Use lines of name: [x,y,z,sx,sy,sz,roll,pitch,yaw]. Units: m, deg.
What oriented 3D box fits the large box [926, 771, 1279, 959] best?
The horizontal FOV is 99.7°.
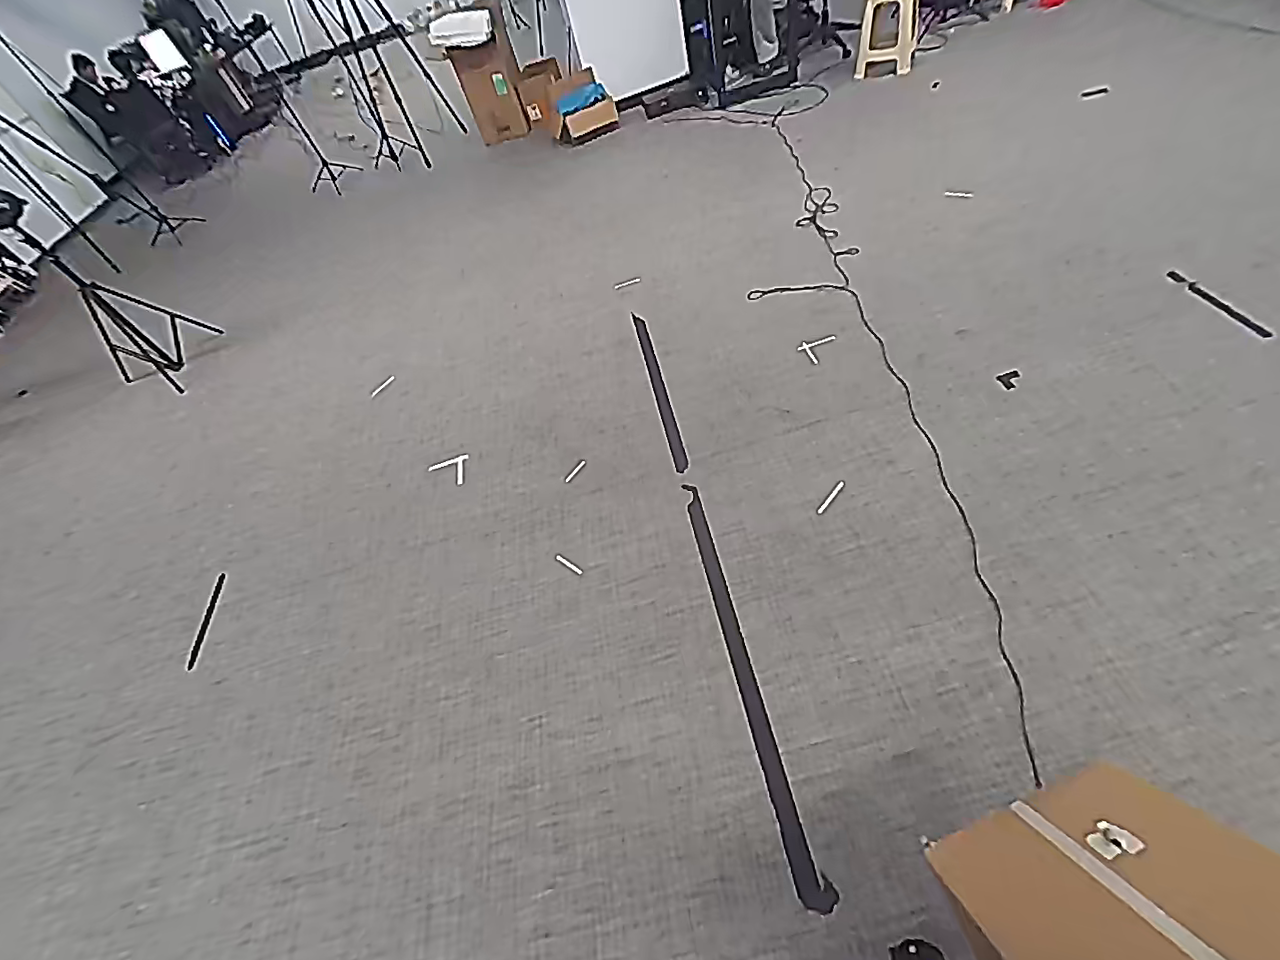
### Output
large box: [0.625,0.618,0.604,0.320,0.408,0.320,-25,84,0]
